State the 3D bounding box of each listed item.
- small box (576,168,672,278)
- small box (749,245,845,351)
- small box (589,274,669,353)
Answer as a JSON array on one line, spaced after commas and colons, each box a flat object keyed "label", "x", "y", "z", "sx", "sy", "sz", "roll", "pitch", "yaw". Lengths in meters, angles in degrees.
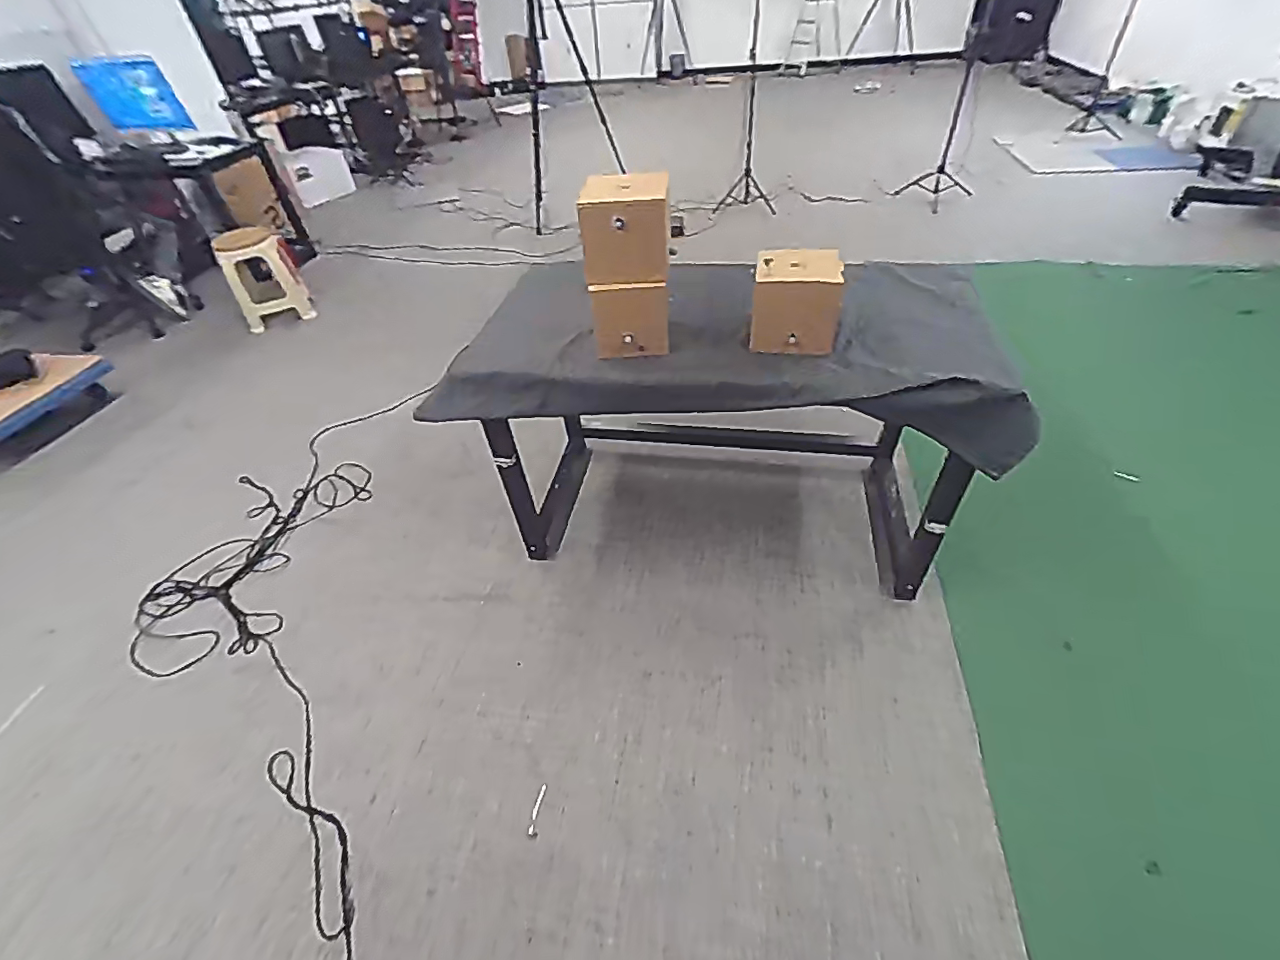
[{"label": "small box", "x": -0.025, "y": -0.534, "z": 1.134, "sx": 0.179, "sy": 0.176, "sz": 0.168, "roll": 1, "pitch": 46, "yaw": 5}, {"label": "small box", "x": 0.341, "y": -0.400, "z": 1.194, "sx": 0.179, "sy": 0.176, "sz": 0.168, "roll": 6, "pitch": 45, "yaw": 11}, {"label": "small box", "x": -0.020, "y": -0.408, "z": 1.237, "sx": 0.168, "sy": 0.176, "sz": 0.179, "roll": -2, "pitch": 45, "yaw": 3}]
